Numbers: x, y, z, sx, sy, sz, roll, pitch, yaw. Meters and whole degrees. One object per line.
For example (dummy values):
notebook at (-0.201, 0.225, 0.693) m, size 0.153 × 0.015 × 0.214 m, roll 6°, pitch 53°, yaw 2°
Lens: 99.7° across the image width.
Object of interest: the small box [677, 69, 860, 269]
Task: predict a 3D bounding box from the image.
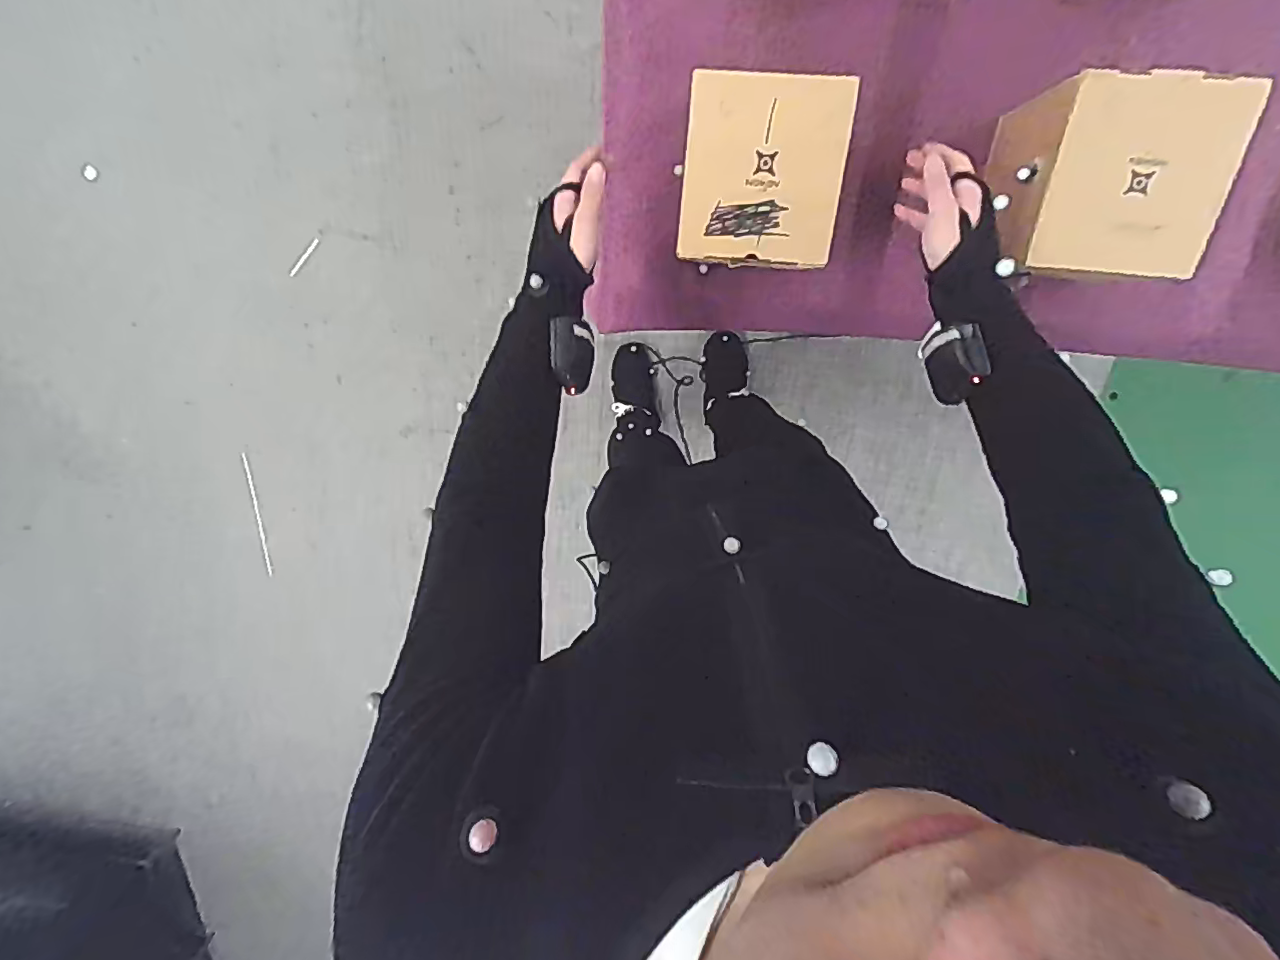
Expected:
small box at (0.137, -0.347, 0.636) m, size 0.168 × 0.176 × 0.179 m, roll 6°, pitch 110°, yaw 4°
